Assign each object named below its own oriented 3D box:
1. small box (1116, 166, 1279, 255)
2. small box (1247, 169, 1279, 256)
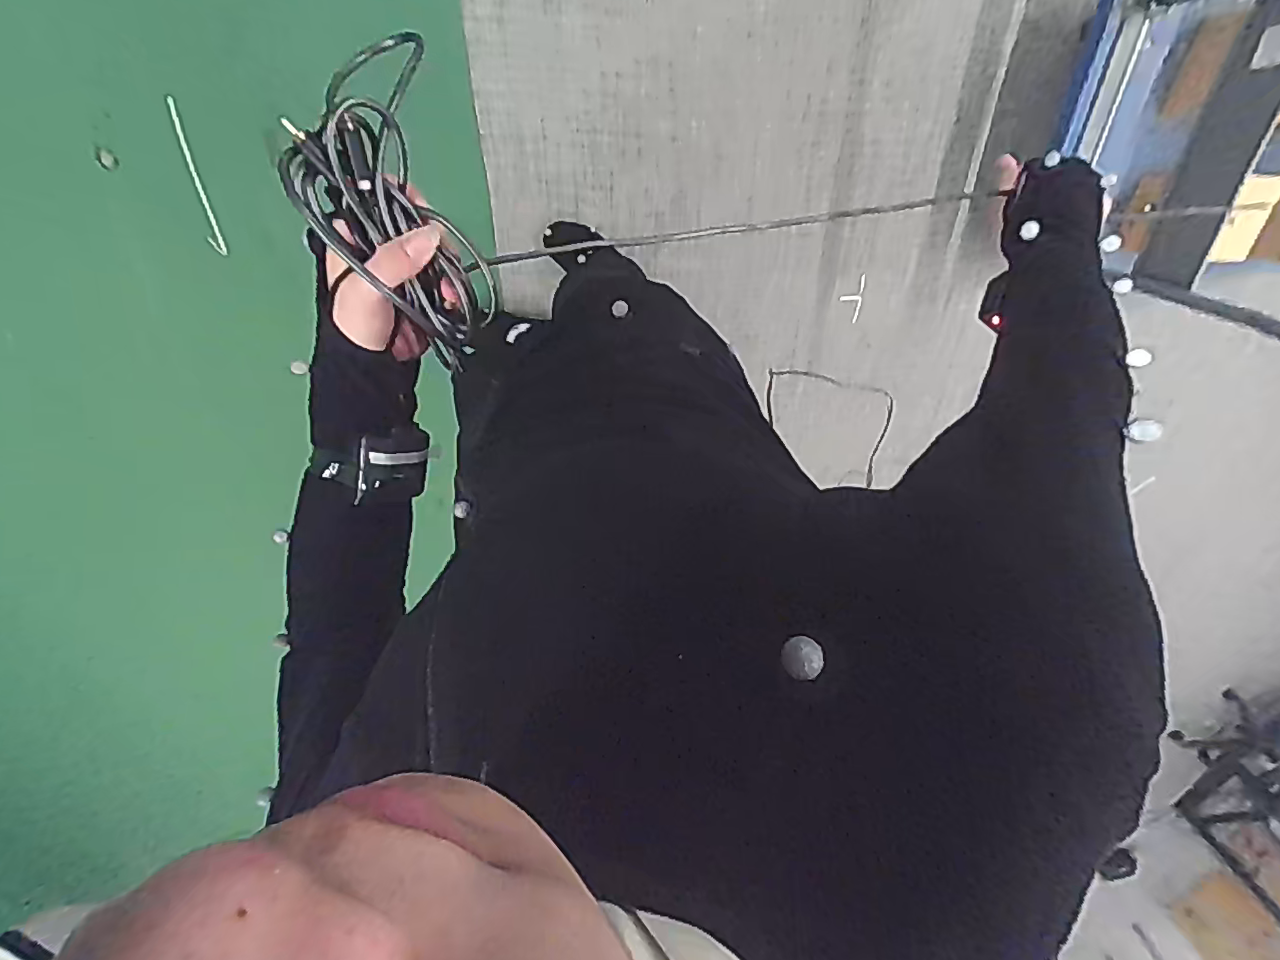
[{"bbox_3d":[1.255,-0.612,1.221,0.179,0.176,0.168,-2,122,-3],"label":"small box"},{"bbox_3d":[1.519,-0.619,1.240,0.179,0.176,0.168,-4,122,-2],"label":"small box"}]
